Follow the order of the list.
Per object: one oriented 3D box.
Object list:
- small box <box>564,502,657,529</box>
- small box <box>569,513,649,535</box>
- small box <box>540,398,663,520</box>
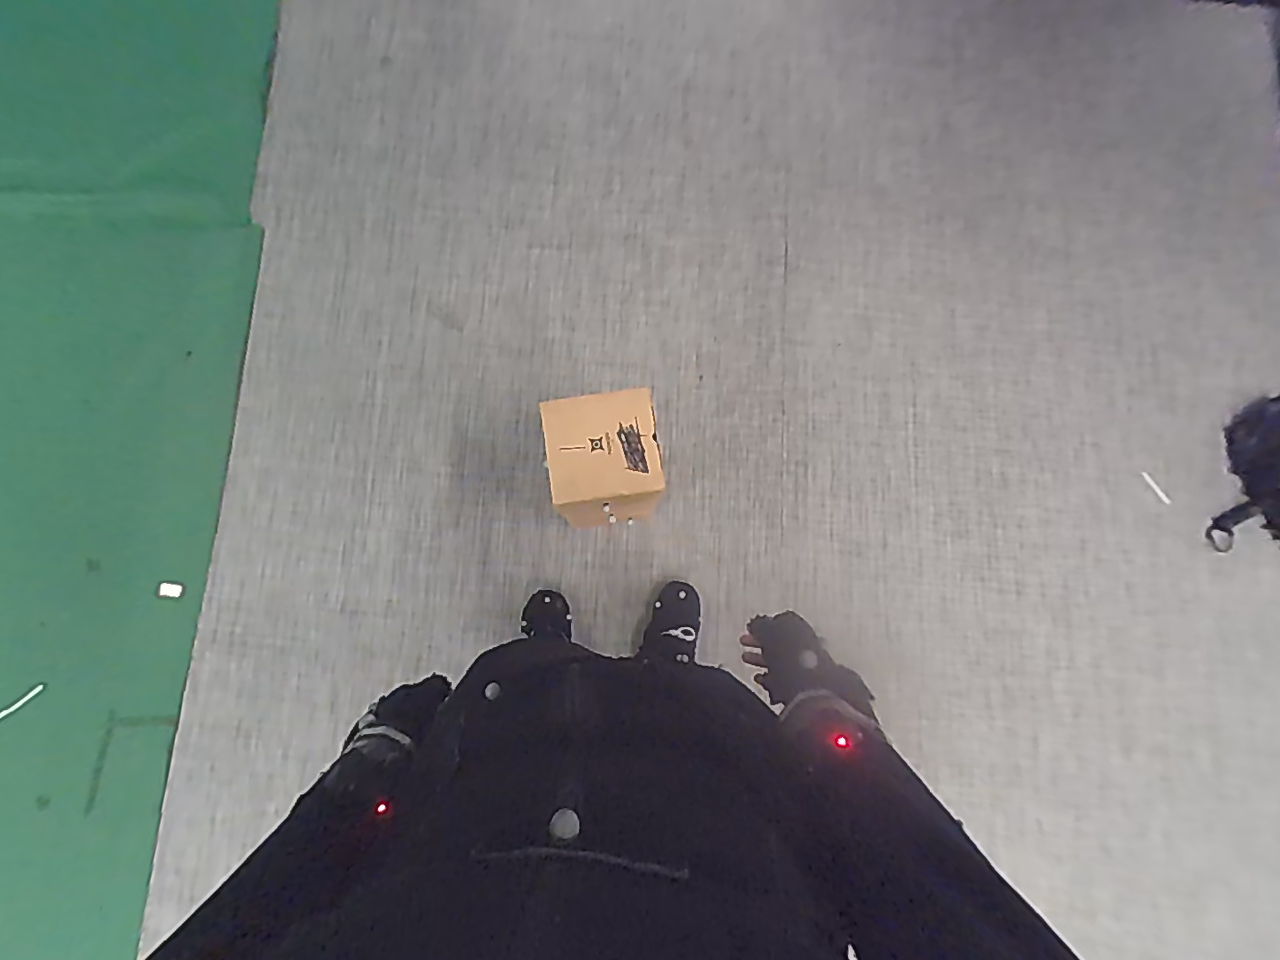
[{"bbox_3d":[-0.072,0.001,1.079,0.179,0.176,0.168,-12,82,-3],"label":"small box"},{"bbox_3d":[-0.080,0.029,1.238,0.179,0.176,0.168,-9,80,-3],"label":"small box"},{"bbox_3d":[-0.064,-0.028,0.915,0.179,0.176,0.168,-8,81,-3],"label":"small box"}]
